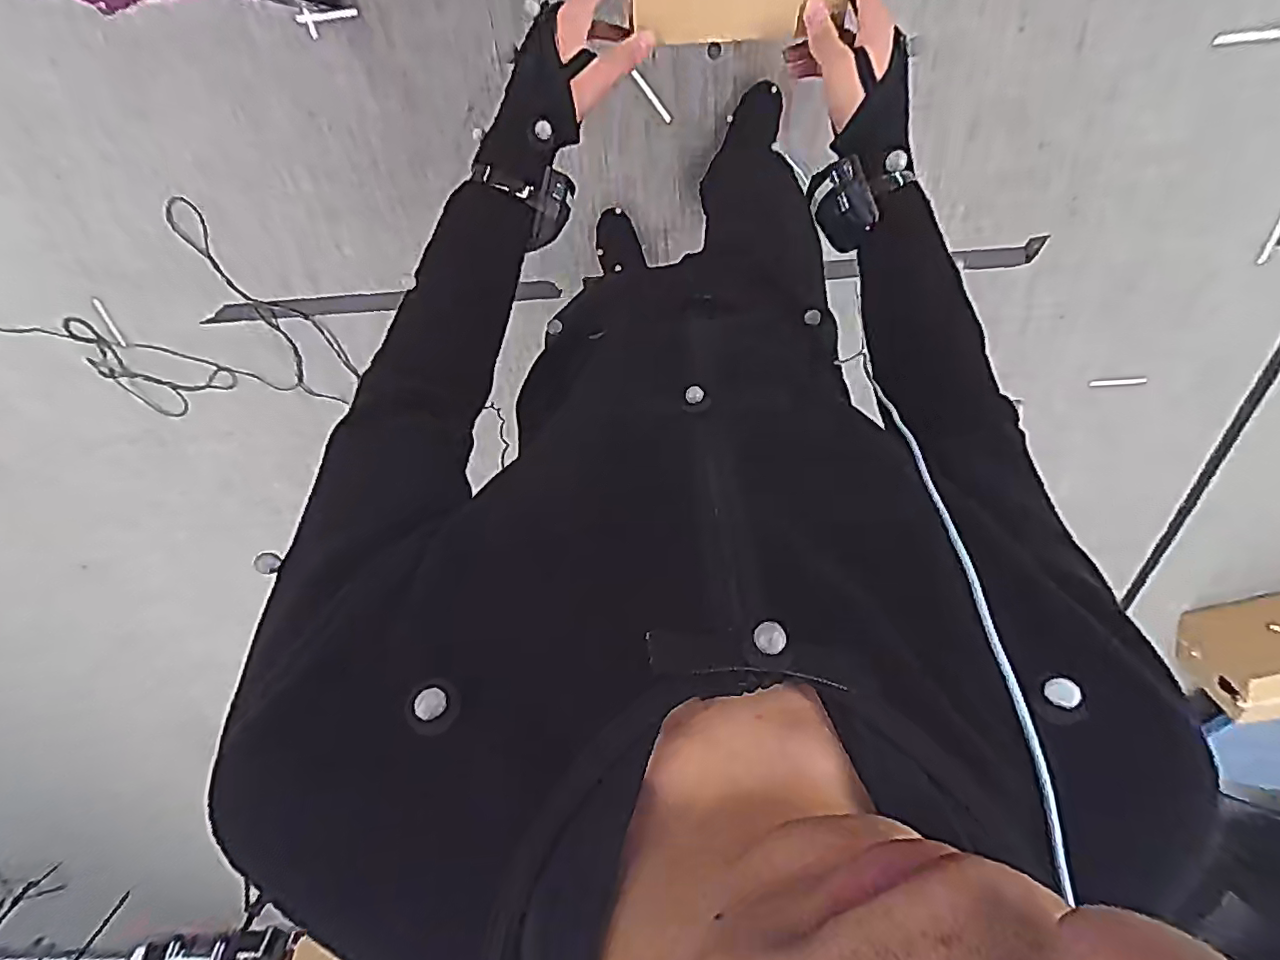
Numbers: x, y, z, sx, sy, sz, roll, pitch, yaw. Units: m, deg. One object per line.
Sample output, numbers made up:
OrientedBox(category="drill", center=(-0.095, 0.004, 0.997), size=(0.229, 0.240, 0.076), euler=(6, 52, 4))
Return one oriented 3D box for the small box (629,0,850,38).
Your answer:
OrientedBox(category="small box", center=(0.077, -0.474, 0.448), size=(0.179, 0.176, 0.168), euler=(-2, 131, -1))
